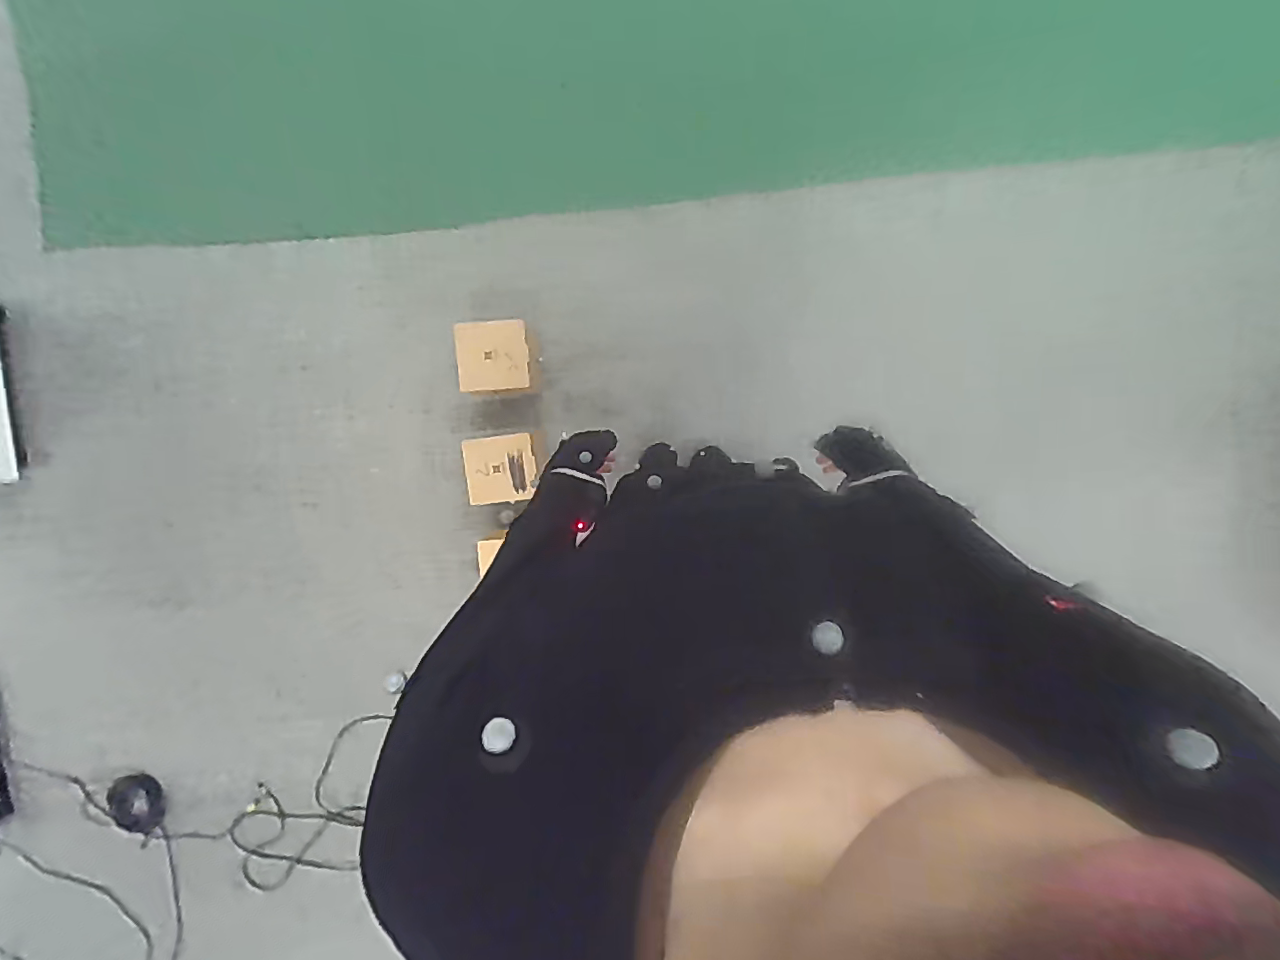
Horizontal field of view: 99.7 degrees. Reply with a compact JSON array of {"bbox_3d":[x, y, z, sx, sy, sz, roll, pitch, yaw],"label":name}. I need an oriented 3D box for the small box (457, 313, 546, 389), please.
[{"bbox_3d":[-0.351,-0.327,1.396,0.179,0.176,0.168,-4,96,2],"label":"small box"}]

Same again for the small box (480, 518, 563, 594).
[{"bbox_3d":[-0.310,0.199,1.444,0.179,0.176,0.168,-4,96,2],"label":"small box"}]
